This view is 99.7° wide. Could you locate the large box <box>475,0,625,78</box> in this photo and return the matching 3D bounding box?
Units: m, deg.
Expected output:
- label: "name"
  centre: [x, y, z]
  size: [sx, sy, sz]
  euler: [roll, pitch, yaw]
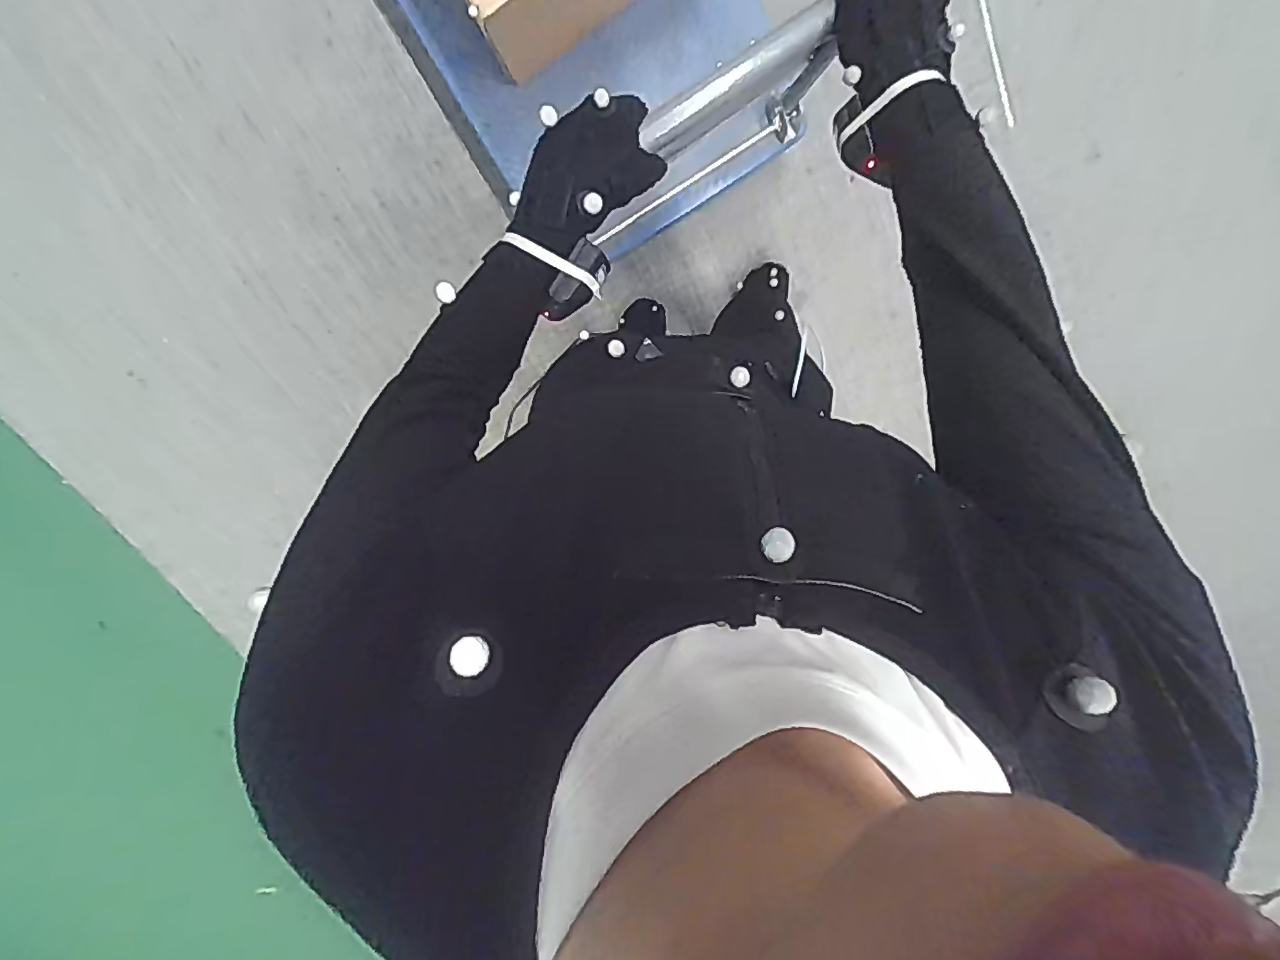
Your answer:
- label: "large box"
  centre: [-0.128, -0.920, 0.809]
  size: [0.408, 0.320, 0.320]
  euler: [-31, 110, 10]
